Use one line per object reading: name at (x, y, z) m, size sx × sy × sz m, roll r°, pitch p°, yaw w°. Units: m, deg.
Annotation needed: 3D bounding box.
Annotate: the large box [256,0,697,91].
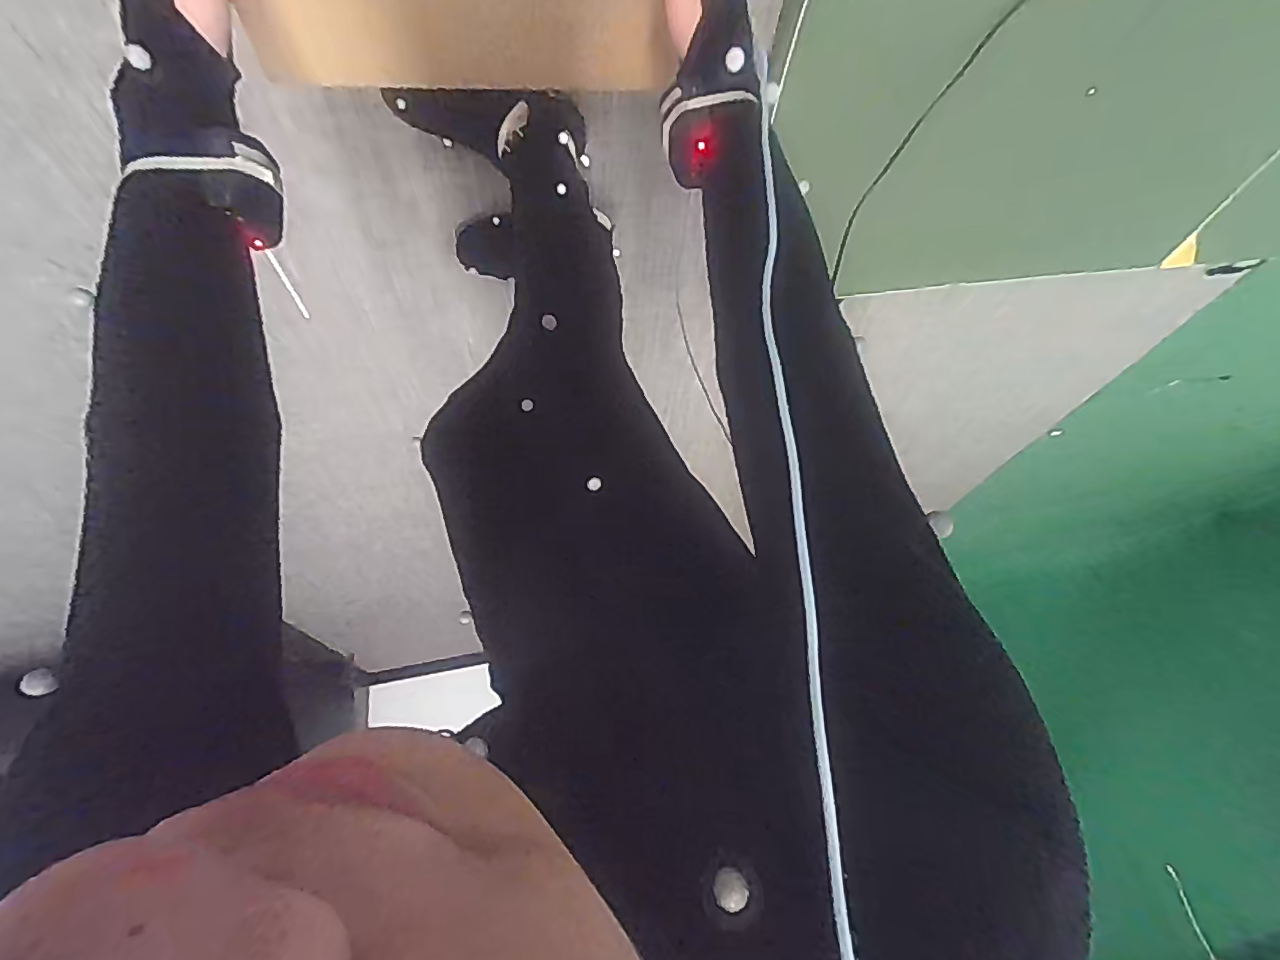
large box at (-0.164, -0.606, 0.498) m, size 0.408 × 0.320 × 0.320 m, roll -8°, pitch 150°, yaw -12°
